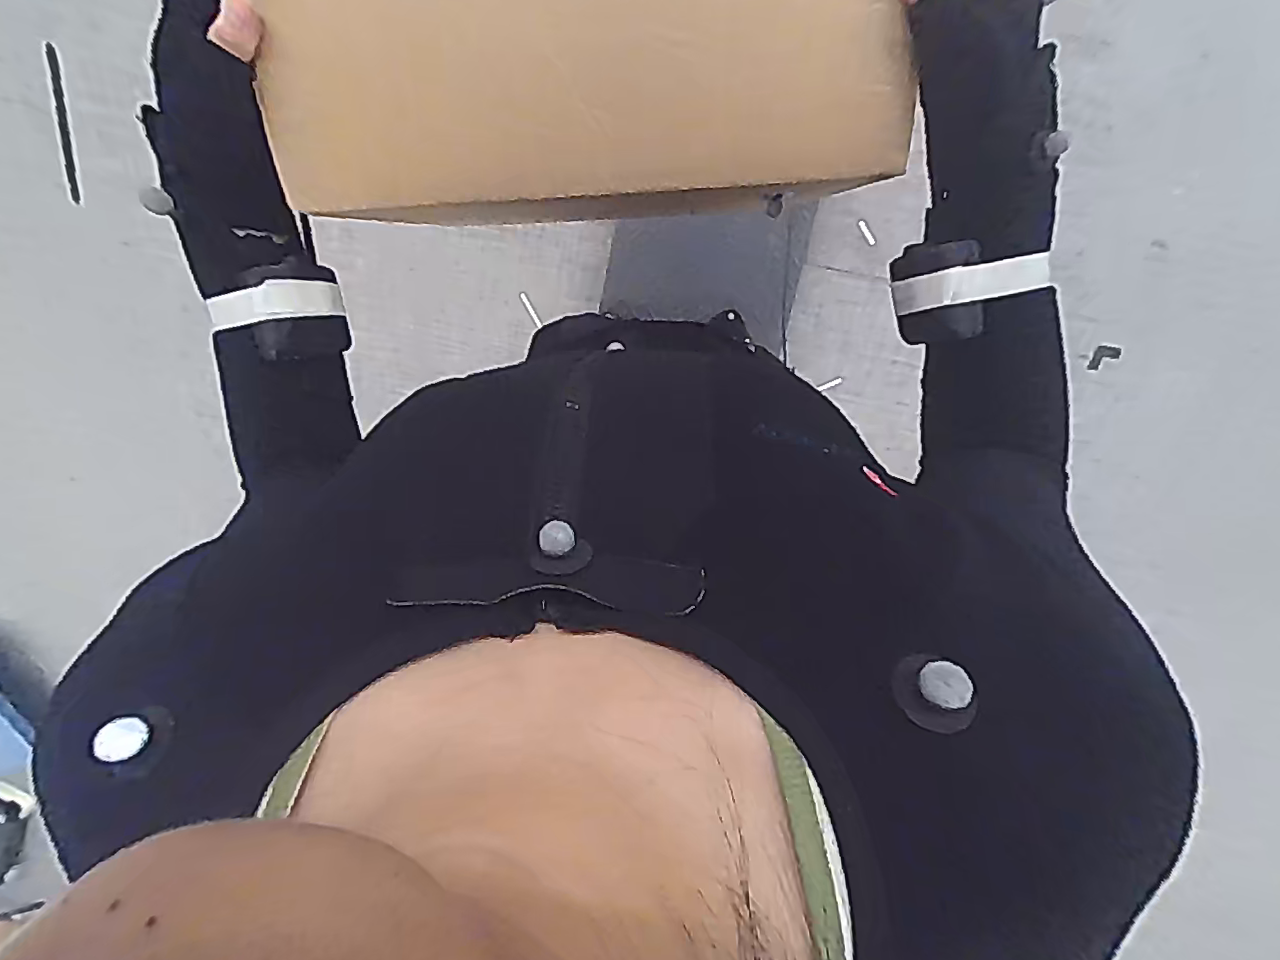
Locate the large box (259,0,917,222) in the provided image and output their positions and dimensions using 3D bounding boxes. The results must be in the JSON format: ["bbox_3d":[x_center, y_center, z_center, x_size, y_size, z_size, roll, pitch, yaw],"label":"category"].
[{"bbox_3d":[-0.031,-0.395,0.442,0.408,0.320,0.320,-2,113,2],"label":"large box"}]
